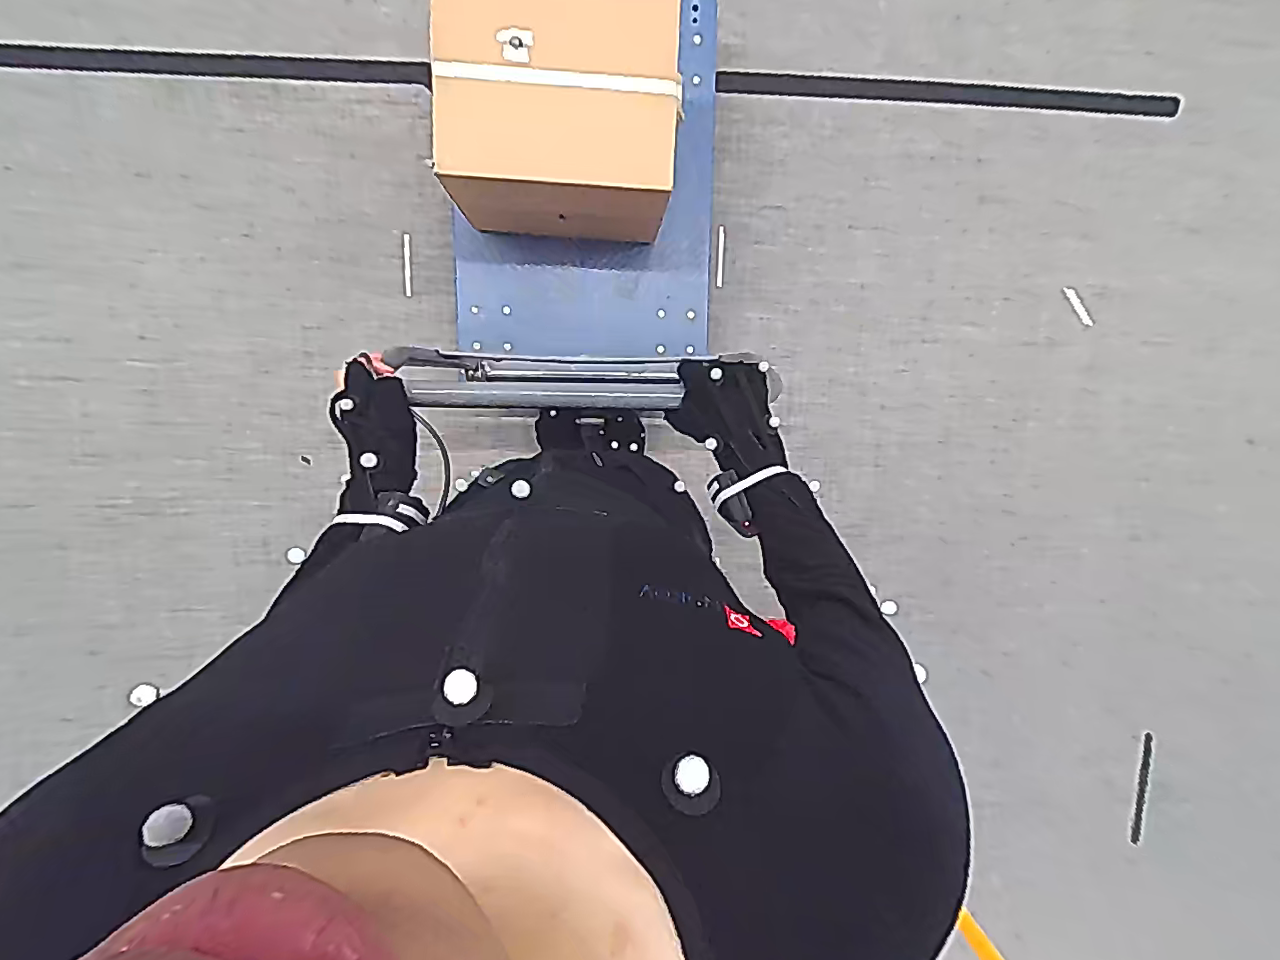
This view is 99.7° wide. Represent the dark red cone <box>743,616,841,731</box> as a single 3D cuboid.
[{"bbox_3d":[0.407,0.510,1.382,0.201,0.394,0.202,0,99,-5],"label":"dark red cone"}]

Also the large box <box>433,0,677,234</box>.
[{"bbox_3d":[-0.145,-0.683,1.045,0.408,0.320,0.320,2,98,-3],"label":"large box"}]
